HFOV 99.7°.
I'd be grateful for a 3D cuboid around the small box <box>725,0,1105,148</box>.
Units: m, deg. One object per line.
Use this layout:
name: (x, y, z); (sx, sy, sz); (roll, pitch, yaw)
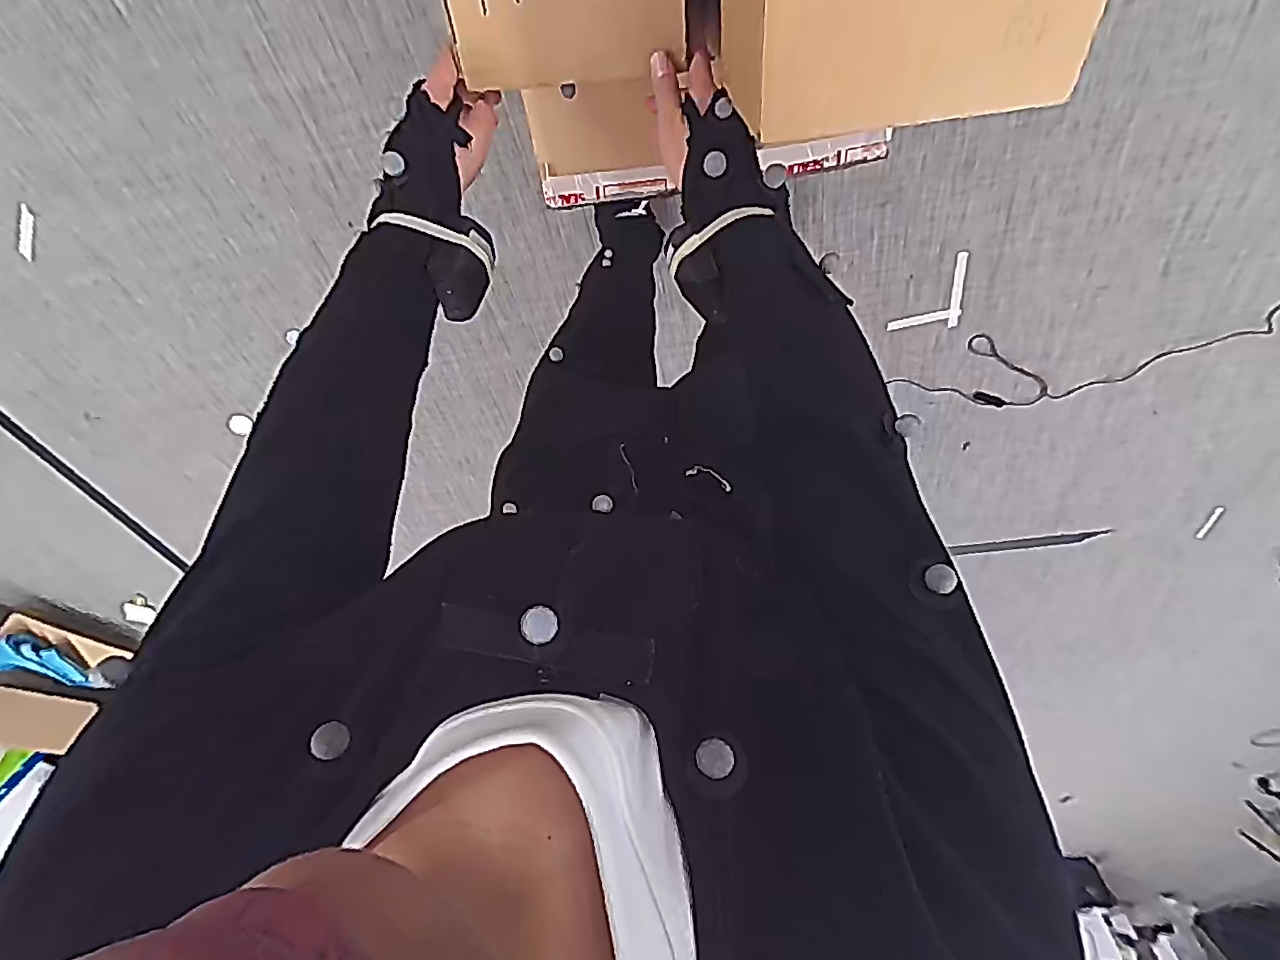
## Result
small box: (0.138, -0.310, 0.297); (0.168, 0.176, 0.179); (-5, 133, 5)
